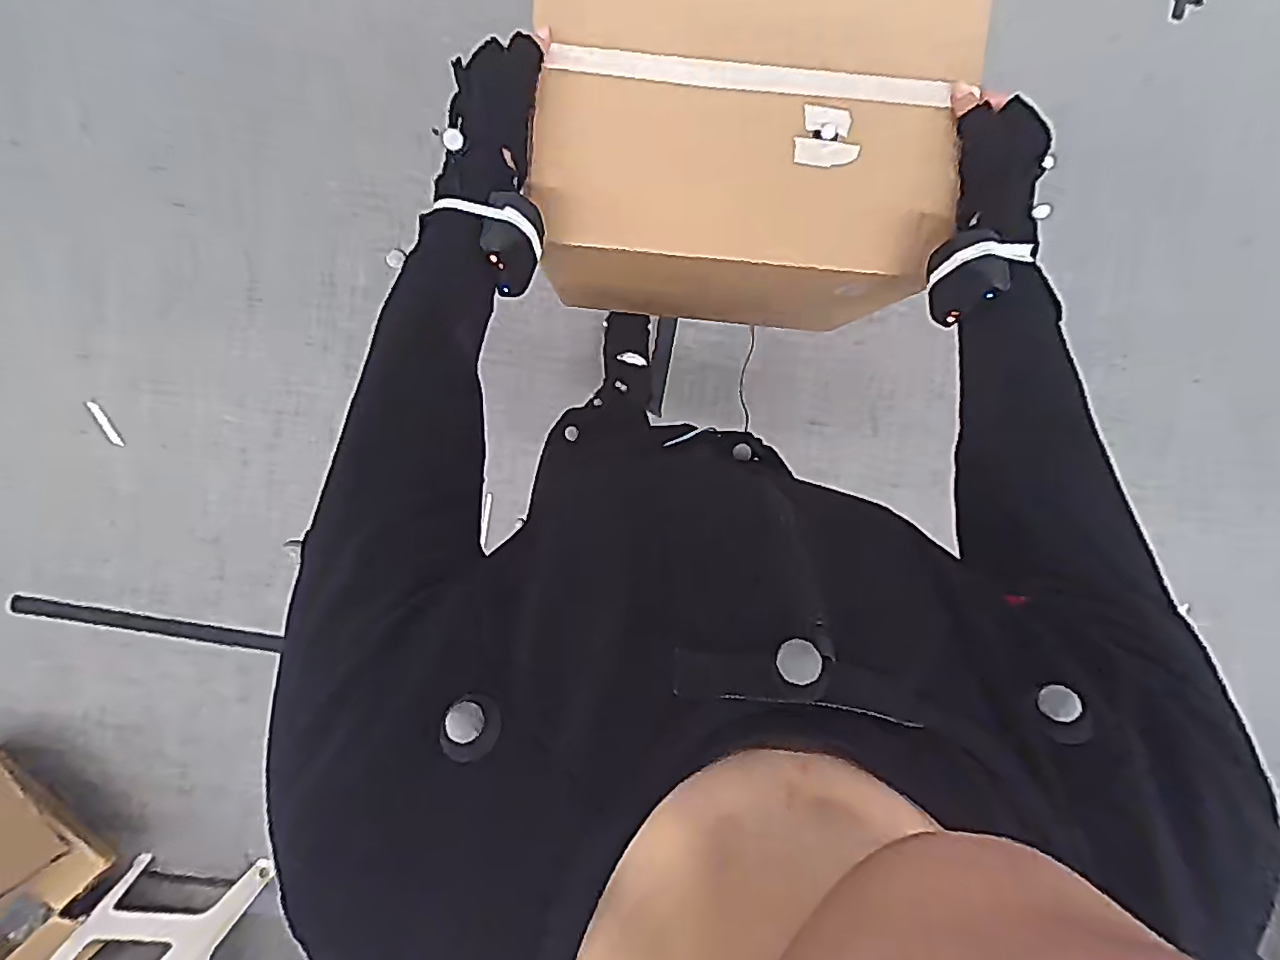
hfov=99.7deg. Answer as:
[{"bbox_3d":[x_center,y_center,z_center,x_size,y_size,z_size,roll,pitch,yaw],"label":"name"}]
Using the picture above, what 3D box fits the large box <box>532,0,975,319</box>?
[{"bbox_3d":[0.098,-0.388,0.647,0.408,0.320,0.320,4,97,-2],"label":"large box"}]
